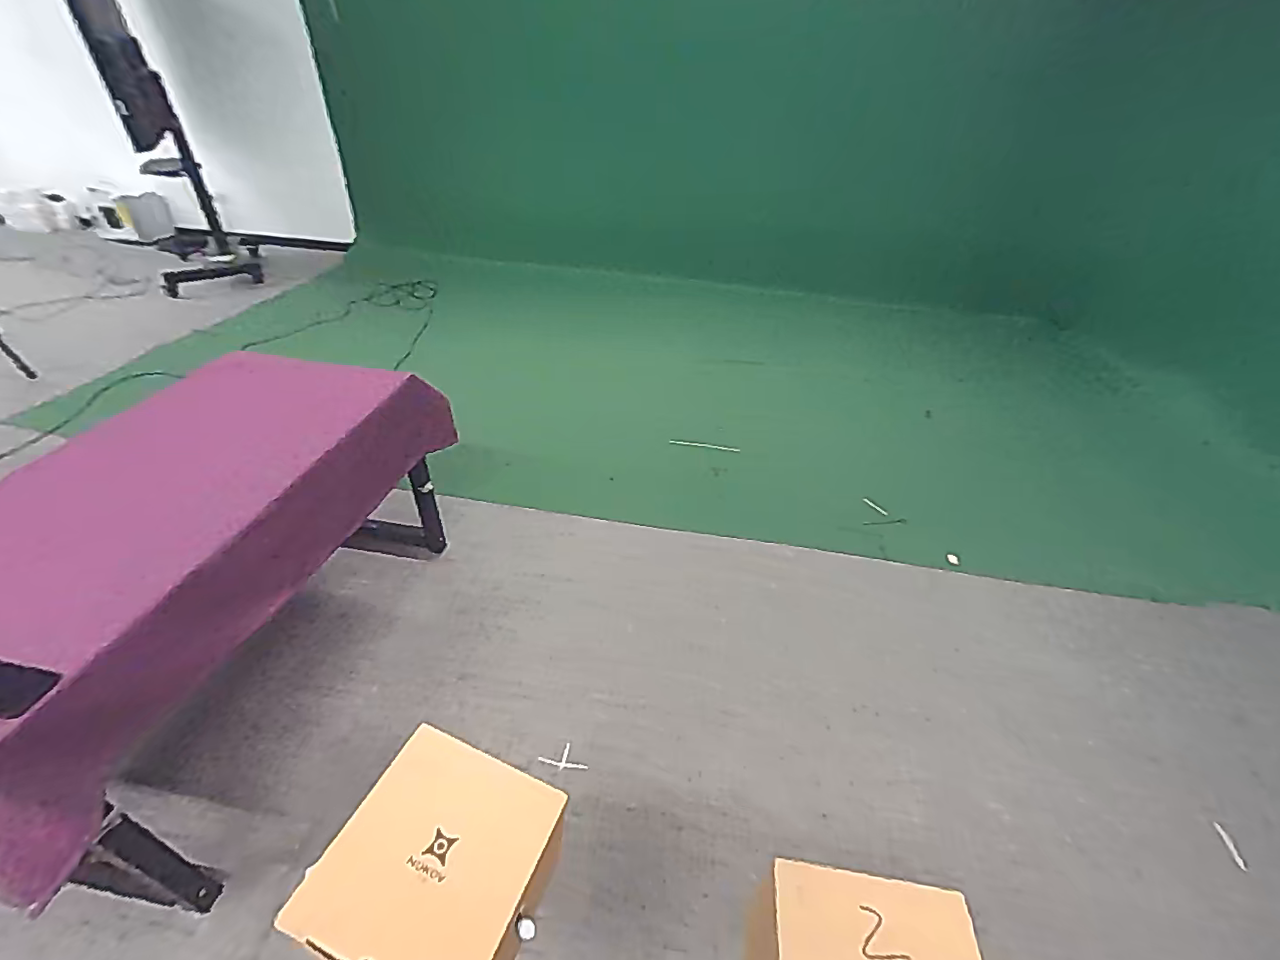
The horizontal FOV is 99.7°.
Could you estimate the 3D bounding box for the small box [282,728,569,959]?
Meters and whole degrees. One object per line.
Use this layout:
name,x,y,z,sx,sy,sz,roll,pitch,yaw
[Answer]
small box,-0.184,0.381,0.509,0.168,0.176,0.179,20,39,11
